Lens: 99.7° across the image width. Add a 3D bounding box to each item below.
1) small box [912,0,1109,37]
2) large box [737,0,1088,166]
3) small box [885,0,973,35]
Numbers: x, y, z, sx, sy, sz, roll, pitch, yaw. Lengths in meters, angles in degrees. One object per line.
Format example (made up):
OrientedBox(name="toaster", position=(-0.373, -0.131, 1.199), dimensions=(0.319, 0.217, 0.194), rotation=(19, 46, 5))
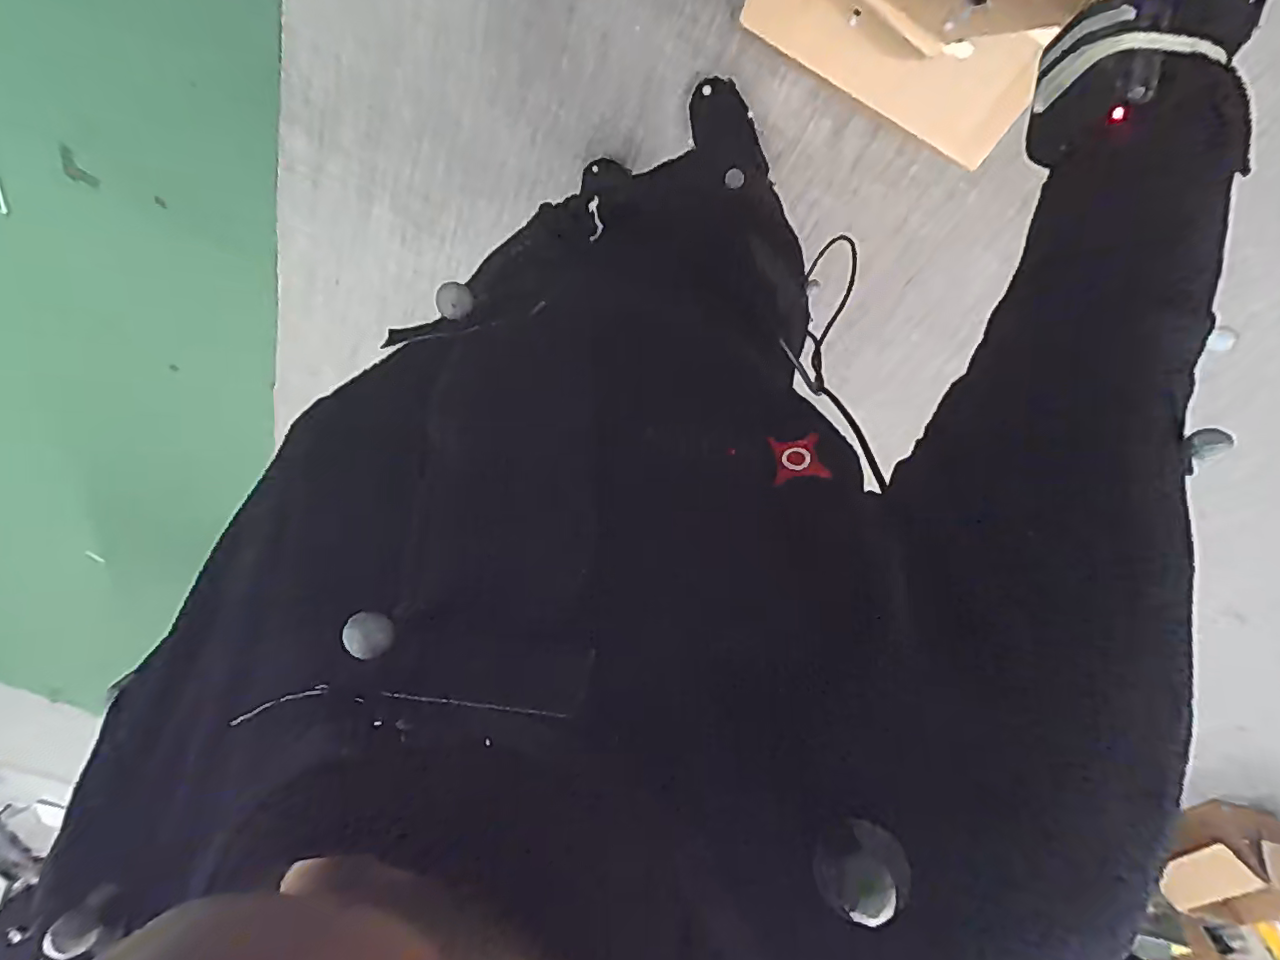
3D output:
OrientedBox(name="small box", position=(0.233, -0.407, 0.325), dimensions=(0.179, 0.176, 0.168), rotation=(24, 126, -10))
OrientedBox(name="large box", position=(0.391, -0.727, 0.778), dimensions=(0.408, 0.320, 0.320), rotation=(23, 129, -11))
OrientedBox(name="small box", position=(0.275, -0.506, 0.449), dimensions=(0.179, 0.176, 0.168), rotation=(25, 127, -11))
